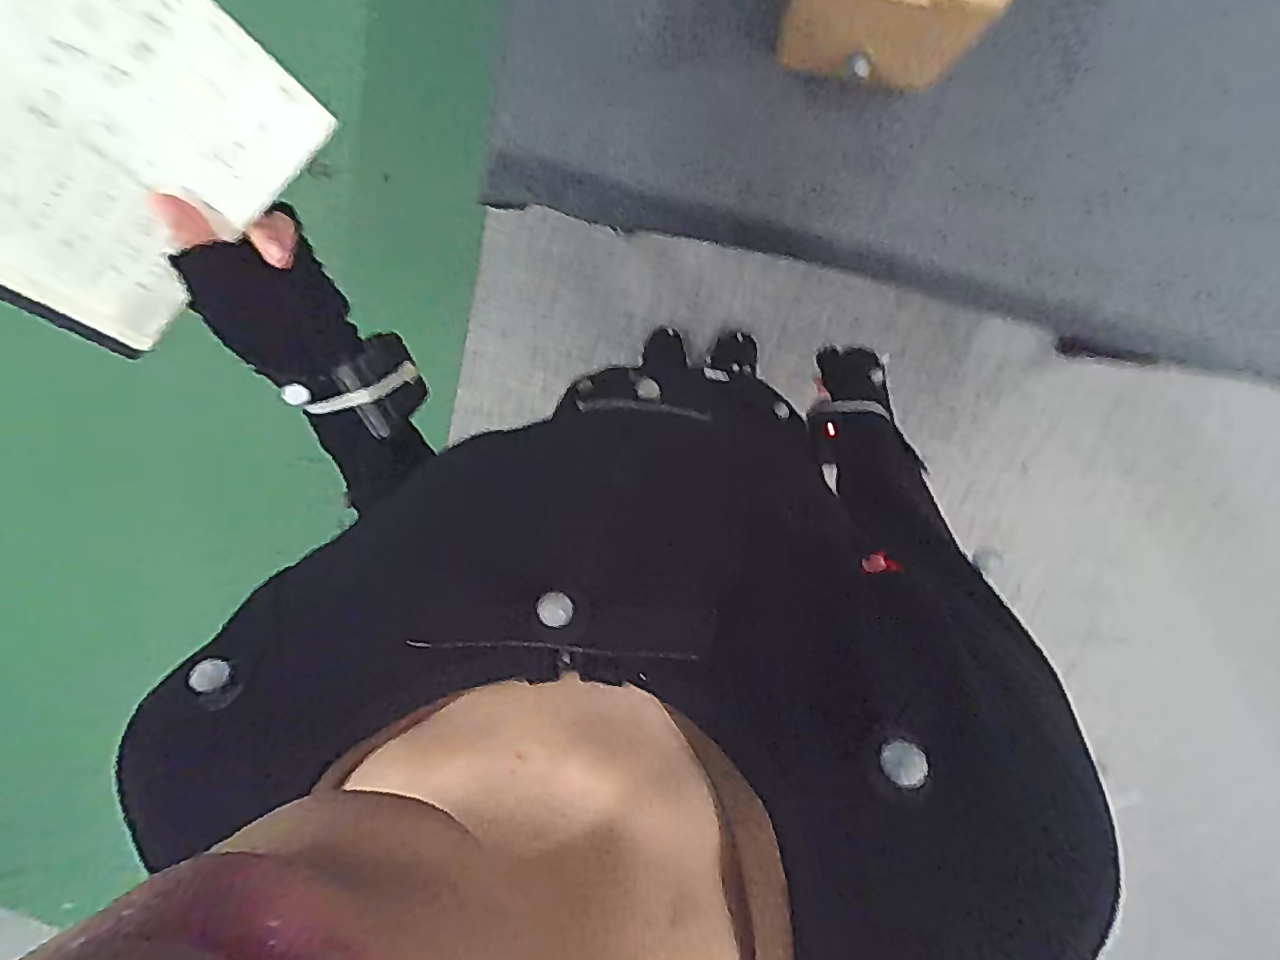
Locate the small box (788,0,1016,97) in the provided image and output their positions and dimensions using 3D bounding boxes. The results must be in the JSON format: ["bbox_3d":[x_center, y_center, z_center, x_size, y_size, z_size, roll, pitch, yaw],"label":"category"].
[{"bbox_3d":[0.243,-0.491,0.488,0.168,0.176,0.179,12,107,4],"label":"small box"}]
